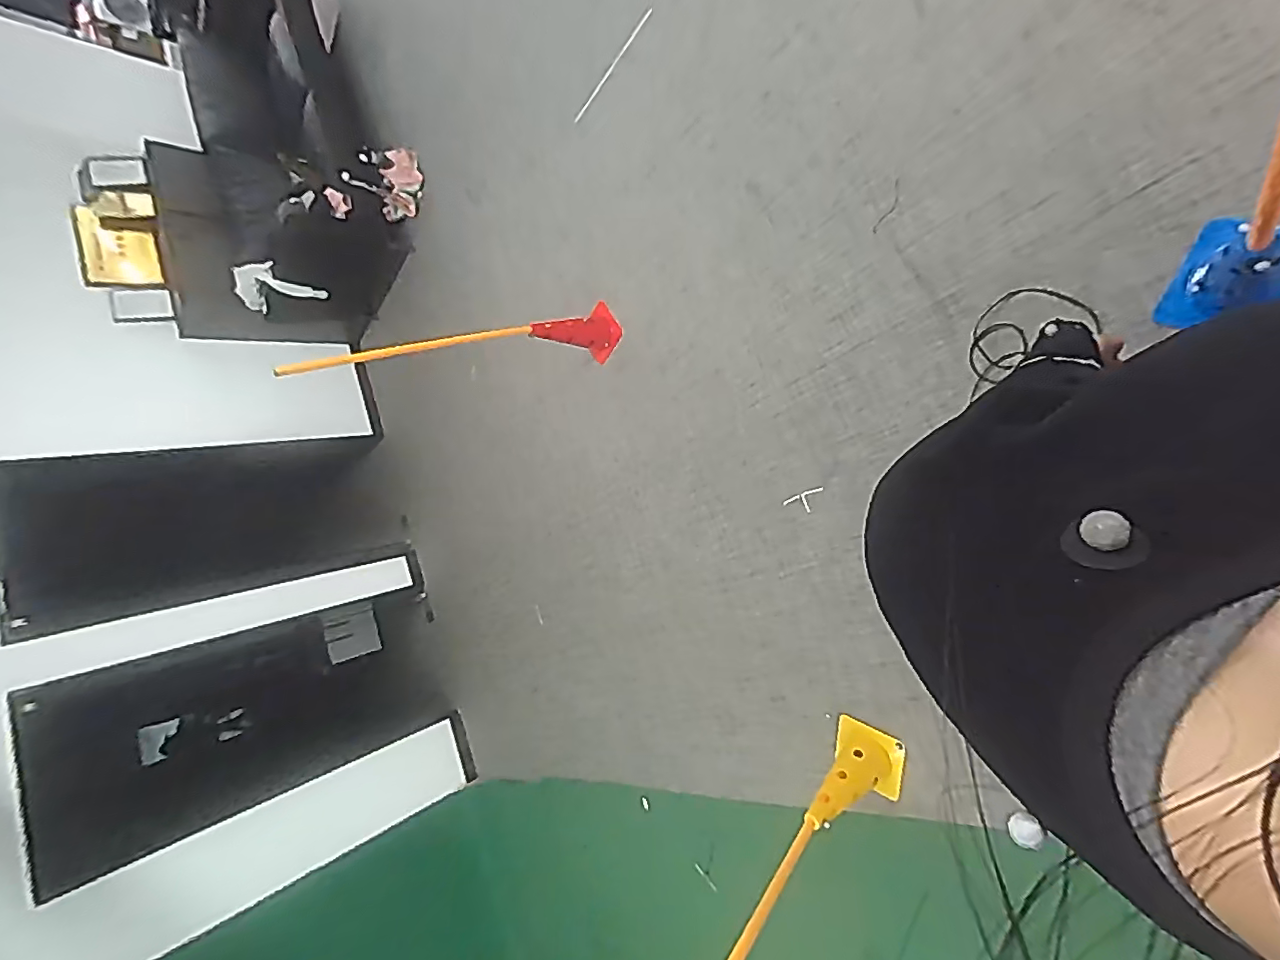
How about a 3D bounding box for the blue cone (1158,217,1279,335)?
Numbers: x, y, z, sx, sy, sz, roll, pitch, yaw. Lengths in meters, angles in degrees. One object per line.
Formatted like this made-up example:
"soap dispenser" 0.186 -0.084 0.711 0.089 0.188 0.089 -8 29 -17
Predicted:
"blue cone" 0.983 -0.361 0.874 0.192 0.380 0.193 32 117 38
